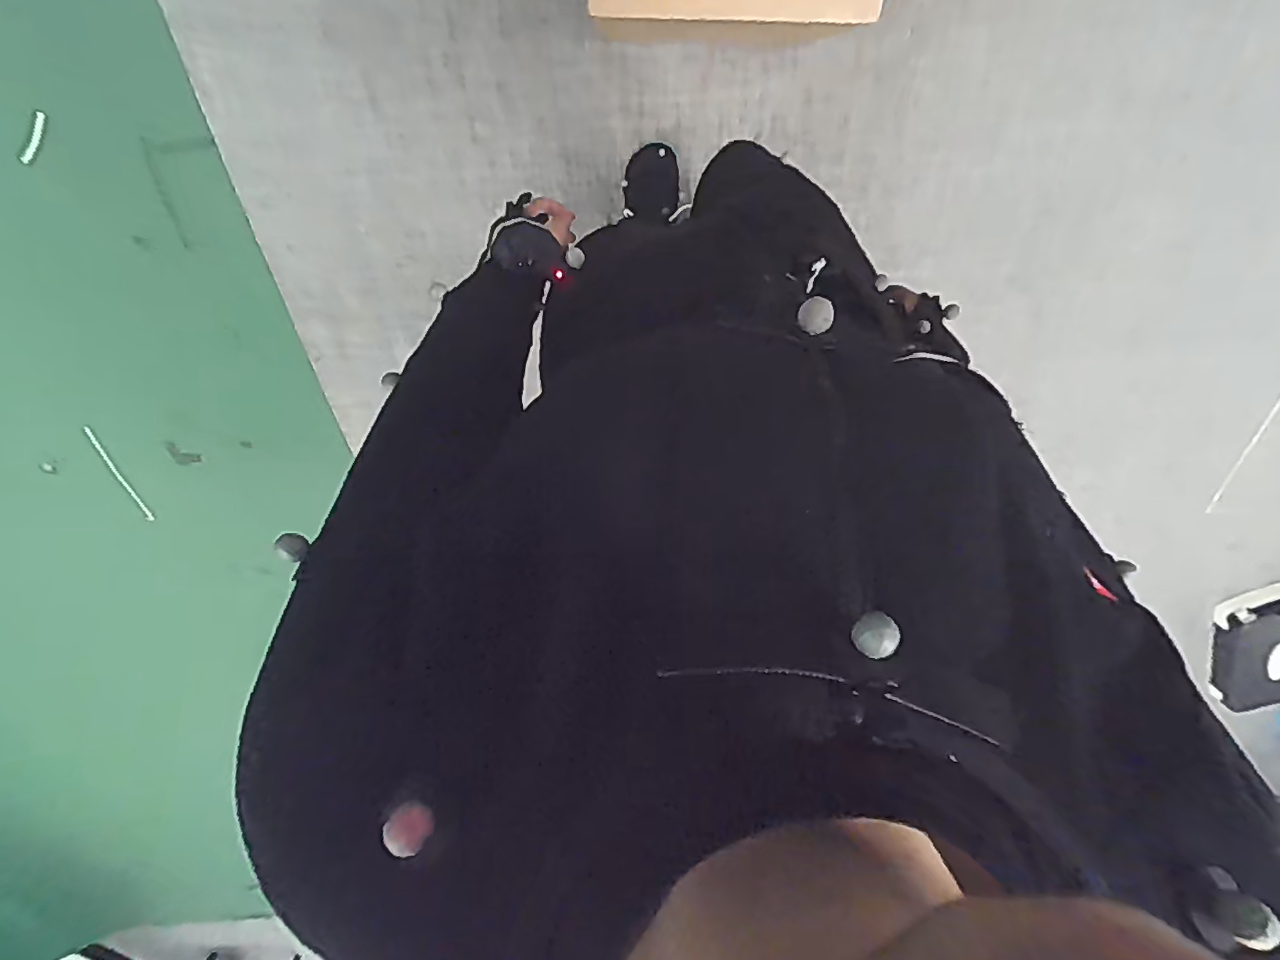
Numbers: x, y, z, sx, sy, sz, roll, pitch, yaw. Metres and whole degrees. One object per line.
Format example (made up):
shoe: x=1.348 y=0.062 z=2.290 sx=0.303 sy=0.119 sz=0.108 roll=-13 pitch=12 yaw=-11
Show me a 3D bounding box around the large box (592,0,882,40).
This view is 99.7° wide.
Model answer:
large box: x=0.123 y=-0.845 z=0.775 sx=0.408 sy=0.320 sz=0.320 roll=-1 pitch=126 yaw=-3
